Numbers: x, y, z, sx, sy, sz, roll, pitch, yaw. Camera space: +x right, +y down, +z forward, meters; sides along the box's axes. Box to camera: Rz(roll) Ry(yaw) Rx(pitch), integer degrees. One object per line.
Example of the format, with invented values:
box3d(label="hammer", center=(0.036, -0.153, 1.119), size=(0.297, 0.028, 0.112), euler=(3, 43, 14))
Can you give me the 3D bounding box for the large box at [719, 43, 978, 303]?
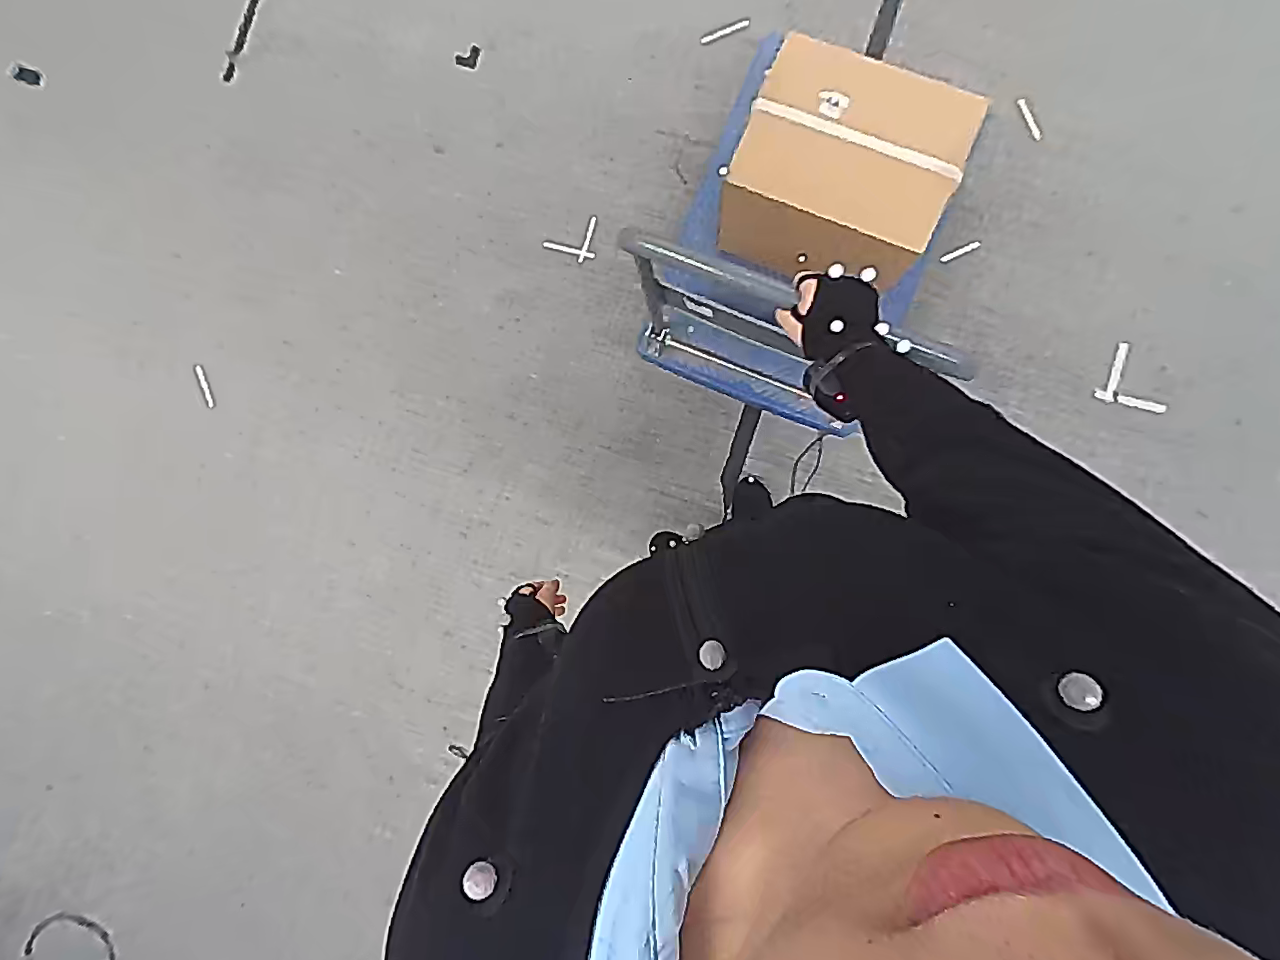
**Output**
box3d(label="large box", center=(0.417, -0.641, 1.186), size=(0.408, 0.320, 0.320), euler=(23, 90, 7))
